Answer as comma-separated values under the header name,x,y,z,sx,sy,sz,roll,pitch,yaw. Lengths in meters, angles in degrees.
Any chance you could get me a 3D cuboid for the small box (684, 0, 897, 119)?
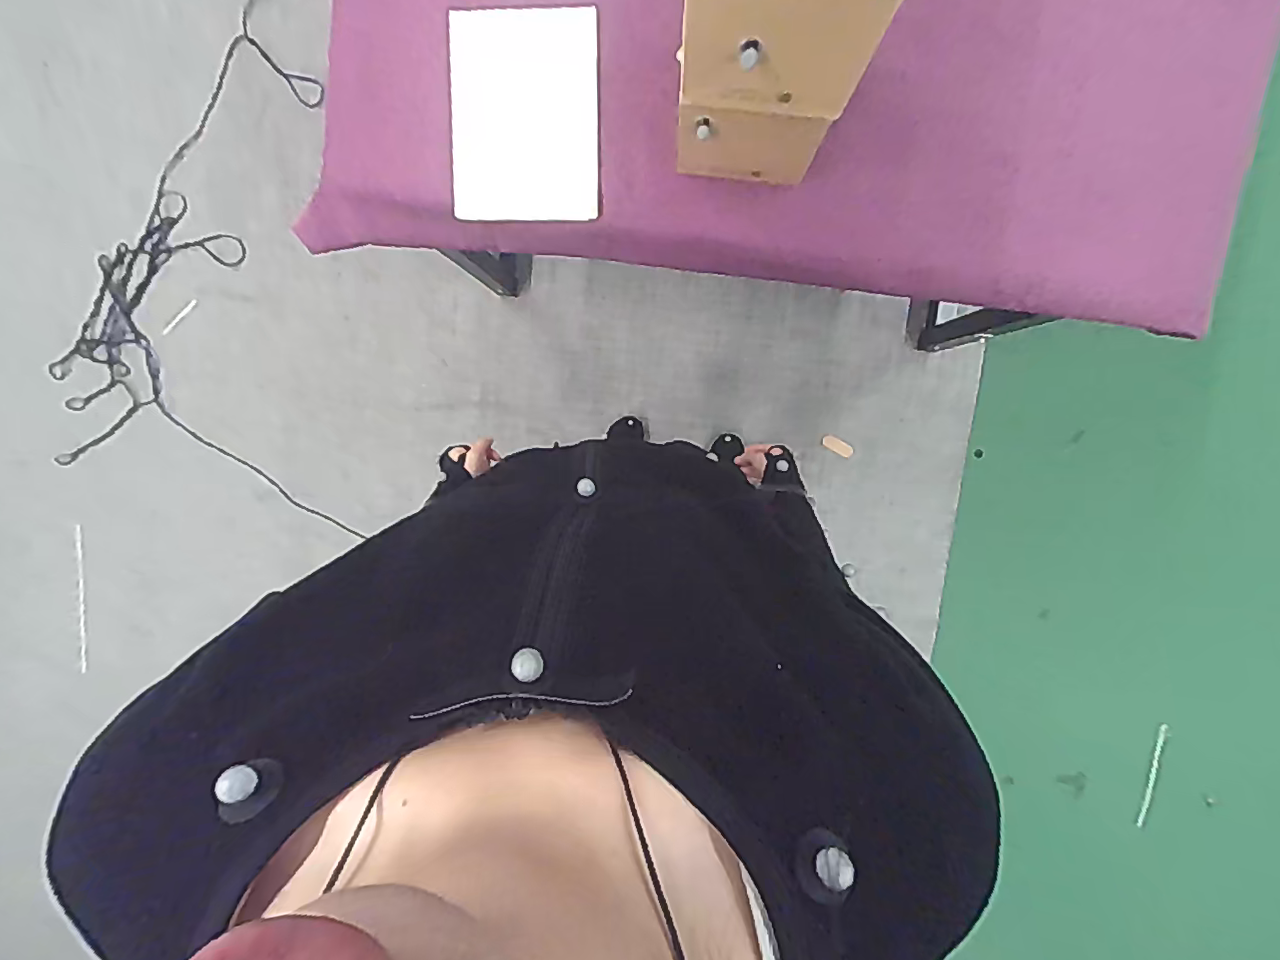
name,x,y,z,sx,sy,sz,roll,pitch,yaw
small box,0.131,-0.458,0.477,0.168,0.176,0.179,8,95,2
